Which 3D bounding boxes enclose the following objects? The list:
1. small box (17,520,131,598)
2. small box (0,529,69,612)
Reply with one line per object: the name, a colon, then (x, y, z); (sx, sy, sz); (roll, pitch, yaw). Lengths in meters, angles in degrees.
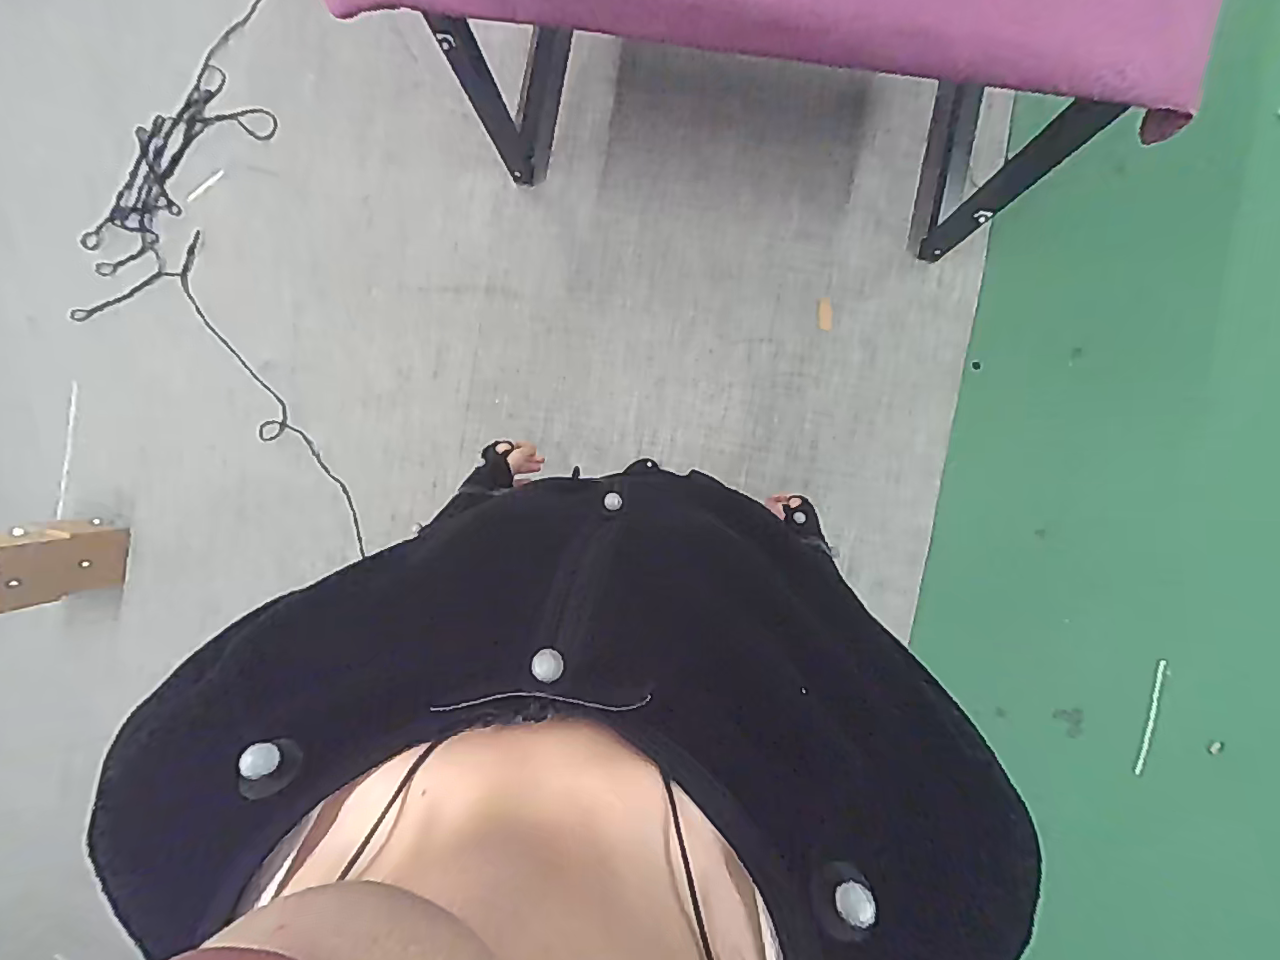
small box: (-1.610, 0.218, 1.538); (0.168, 0.176, 0.179); (9, 91, 3)
small box: (-1.622, 0.231, 1.374); (0.168, 0.176, 0.179); (9, 92, 2)
